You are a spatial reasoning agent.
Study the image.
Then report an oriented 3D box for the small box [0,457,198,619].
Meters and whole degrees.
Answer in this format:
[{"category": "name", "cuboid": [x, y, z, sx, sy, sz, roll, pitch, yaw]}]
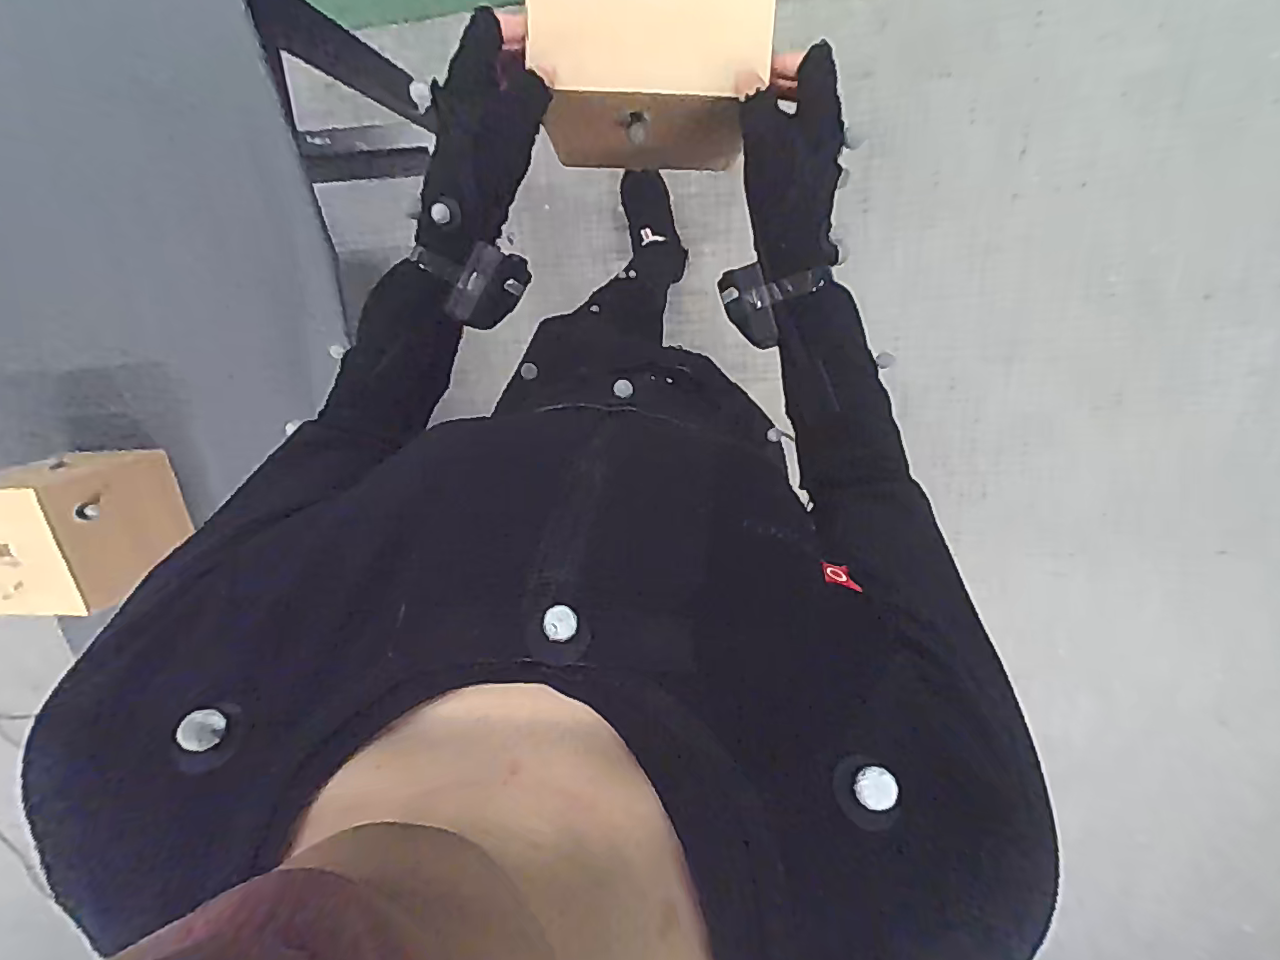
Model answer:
[{"category": "small box", "cuboid": [-0.770, 0.070, 0.741, 0.168, 0.176, 0.179, -2, 109, 8]}]
